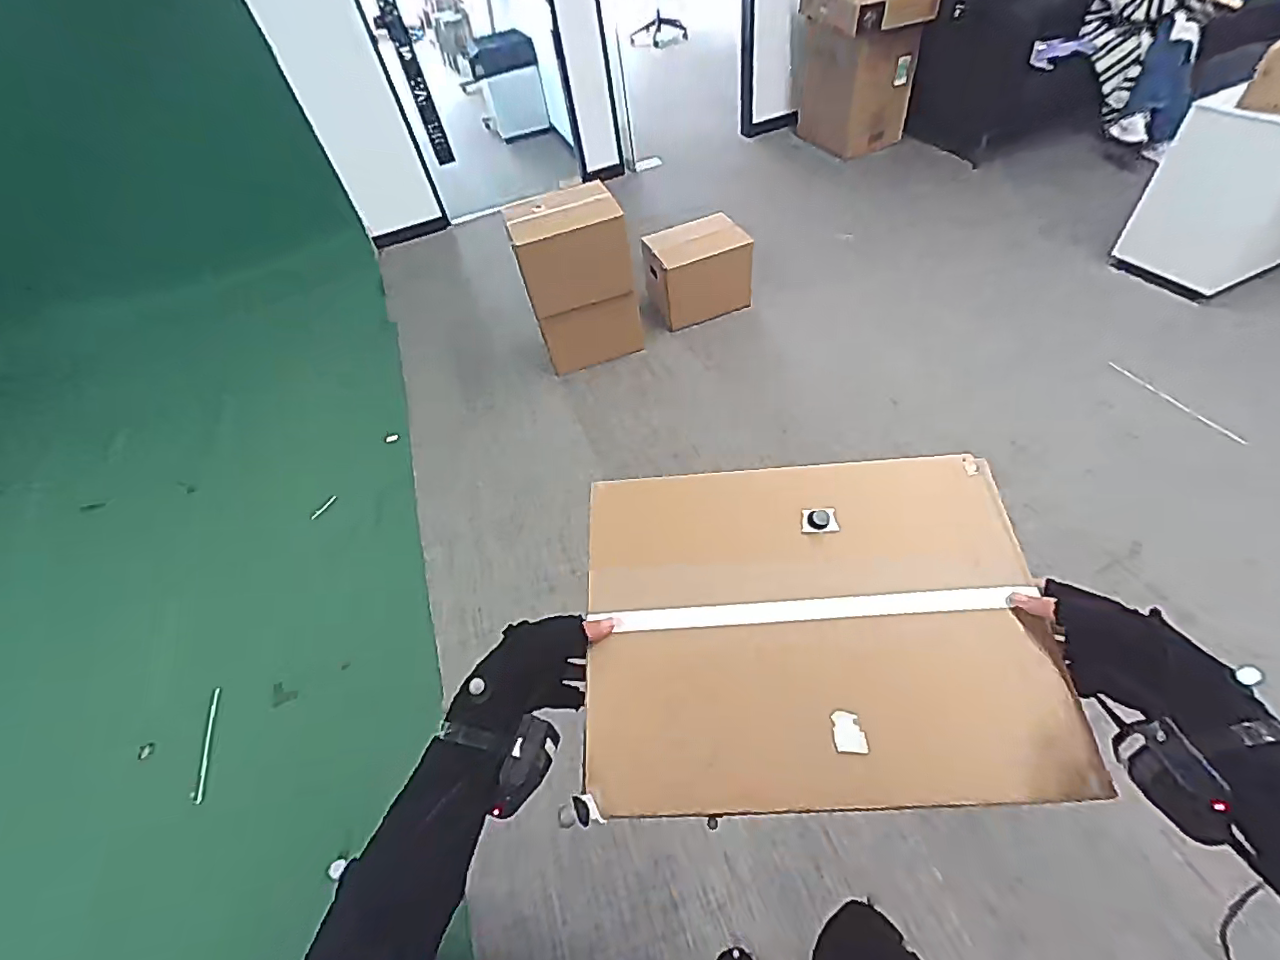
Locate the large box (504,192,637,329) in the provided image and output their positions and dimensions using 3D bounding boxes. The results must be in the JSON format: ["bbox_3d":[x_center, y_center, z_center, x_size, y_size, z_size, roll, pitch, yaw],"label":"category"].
[{"bbox_3d":[-0.262,-0.849,2.094,0.408,0.320,0.320,-20,52,-6],"label":"large box"}]
